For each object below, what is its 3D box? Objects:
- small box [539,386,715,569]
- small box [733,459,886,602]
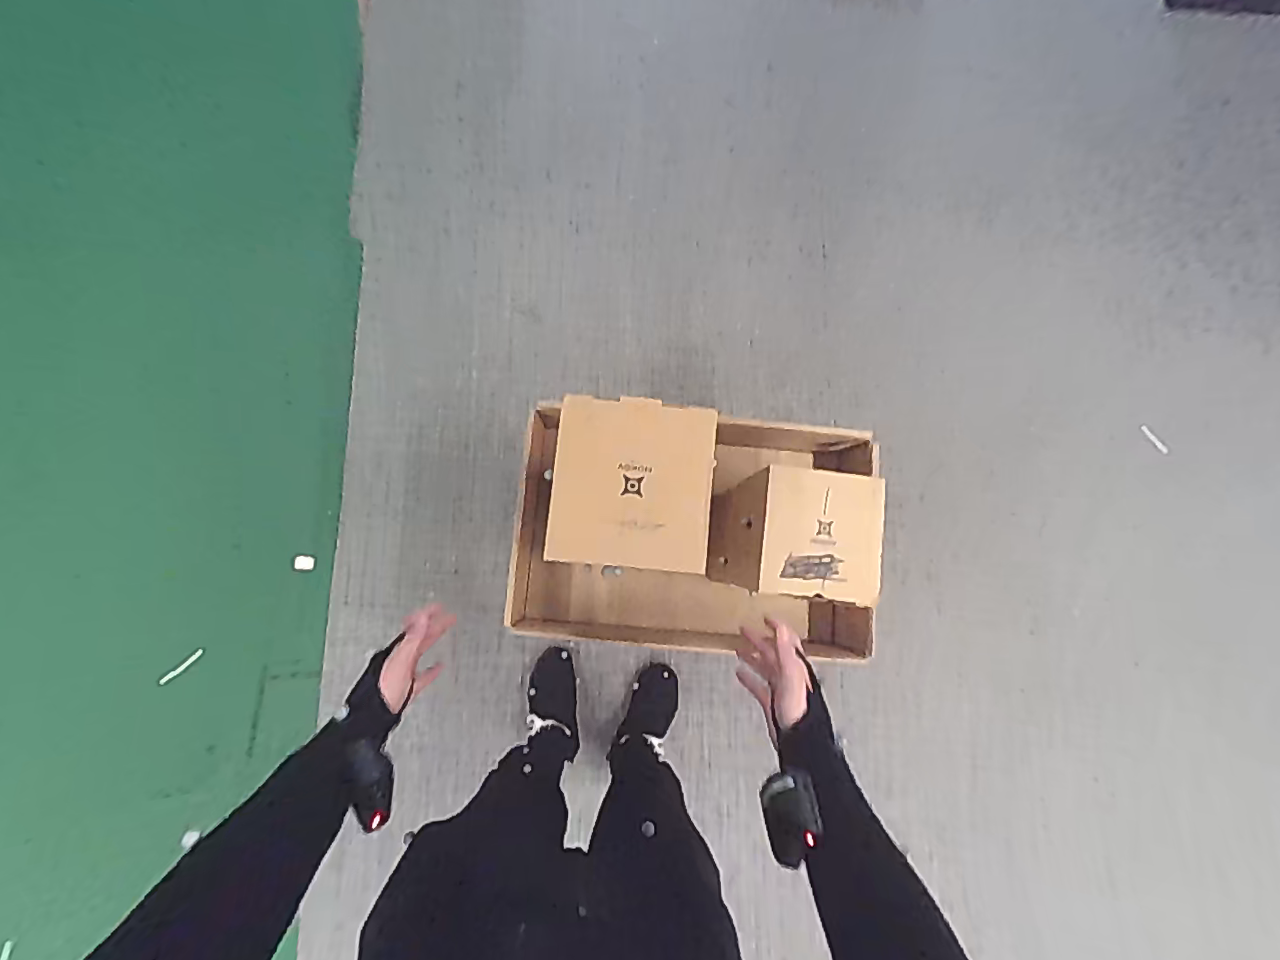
[{"bbox_3d":[-0.015,0.008,0.628,0.168,0.176,0.179,6,81,-1],"label":"small box"},{"bbox_3d":[0.239,0.077,0.797,0.168,0.176,0.179,7,81,-2],"label":"small box"}]
